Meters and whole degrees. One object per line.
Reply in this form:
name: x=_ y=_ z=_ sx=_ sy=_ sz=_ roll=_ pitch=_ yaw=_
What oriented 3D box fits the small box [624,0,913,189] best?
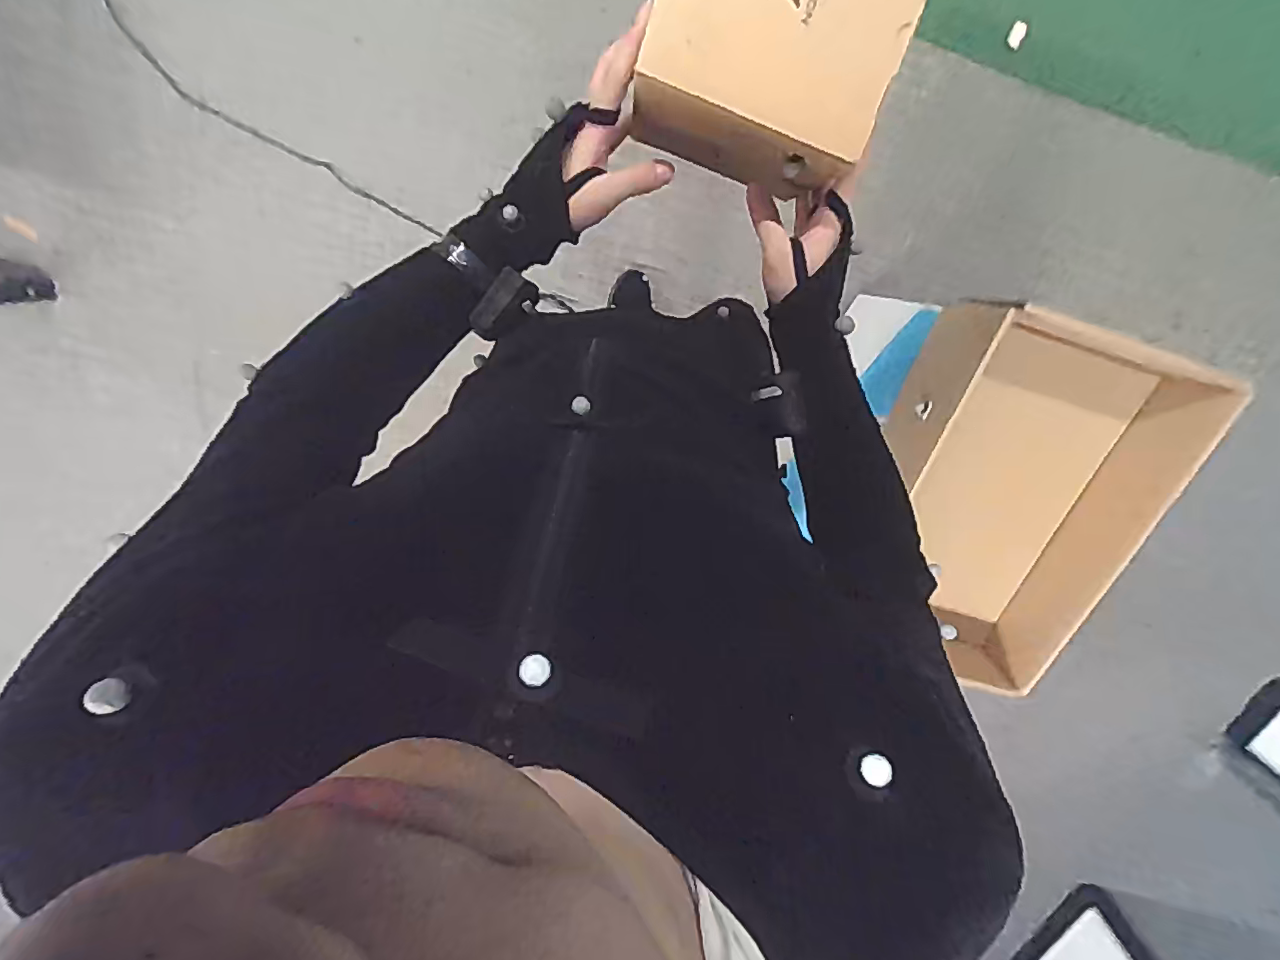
small box: x=0.091 y=-0.354 z=0.432 sx=0.179 sy=0.176 sz=0.168 roll=15 pitch=108 yaw=-10
